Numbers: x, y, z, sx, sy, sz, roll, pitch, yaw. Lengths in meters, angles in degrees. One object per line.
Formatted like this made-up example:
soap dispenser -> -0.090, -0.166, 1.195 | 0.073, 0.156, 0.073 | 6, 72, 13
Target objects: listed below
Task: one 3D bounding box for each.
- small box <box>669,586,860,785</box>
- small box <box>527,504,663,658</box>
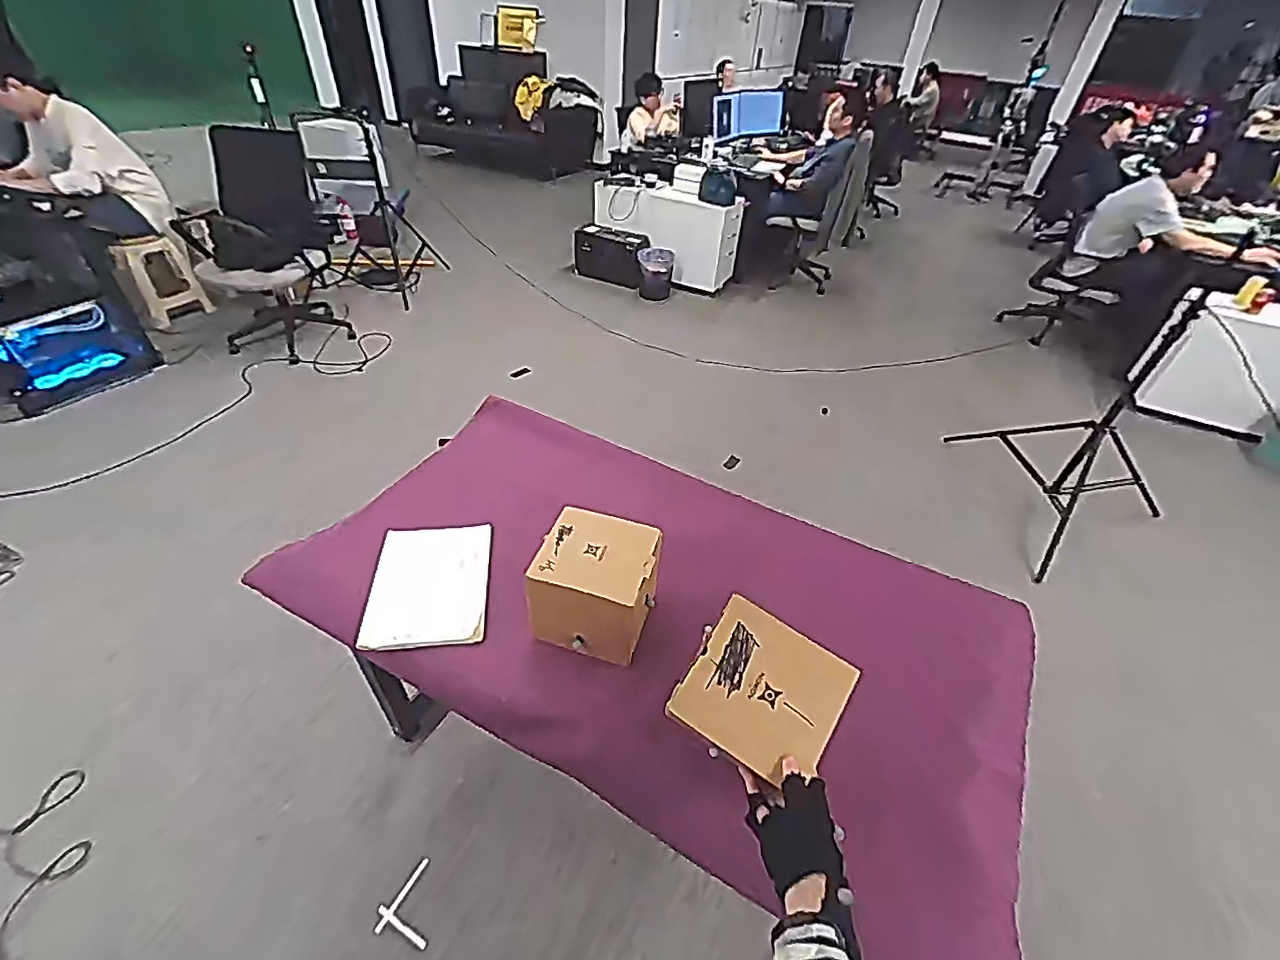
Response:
small box -> 0.152, 0.273, 0.717 | 0.179, 0.176, 0.168 | 30, 69, 16
small box -> -0.072, 0.172, 0.909 | 0.179, 0.176, 0.168 | 14, 41, 10
